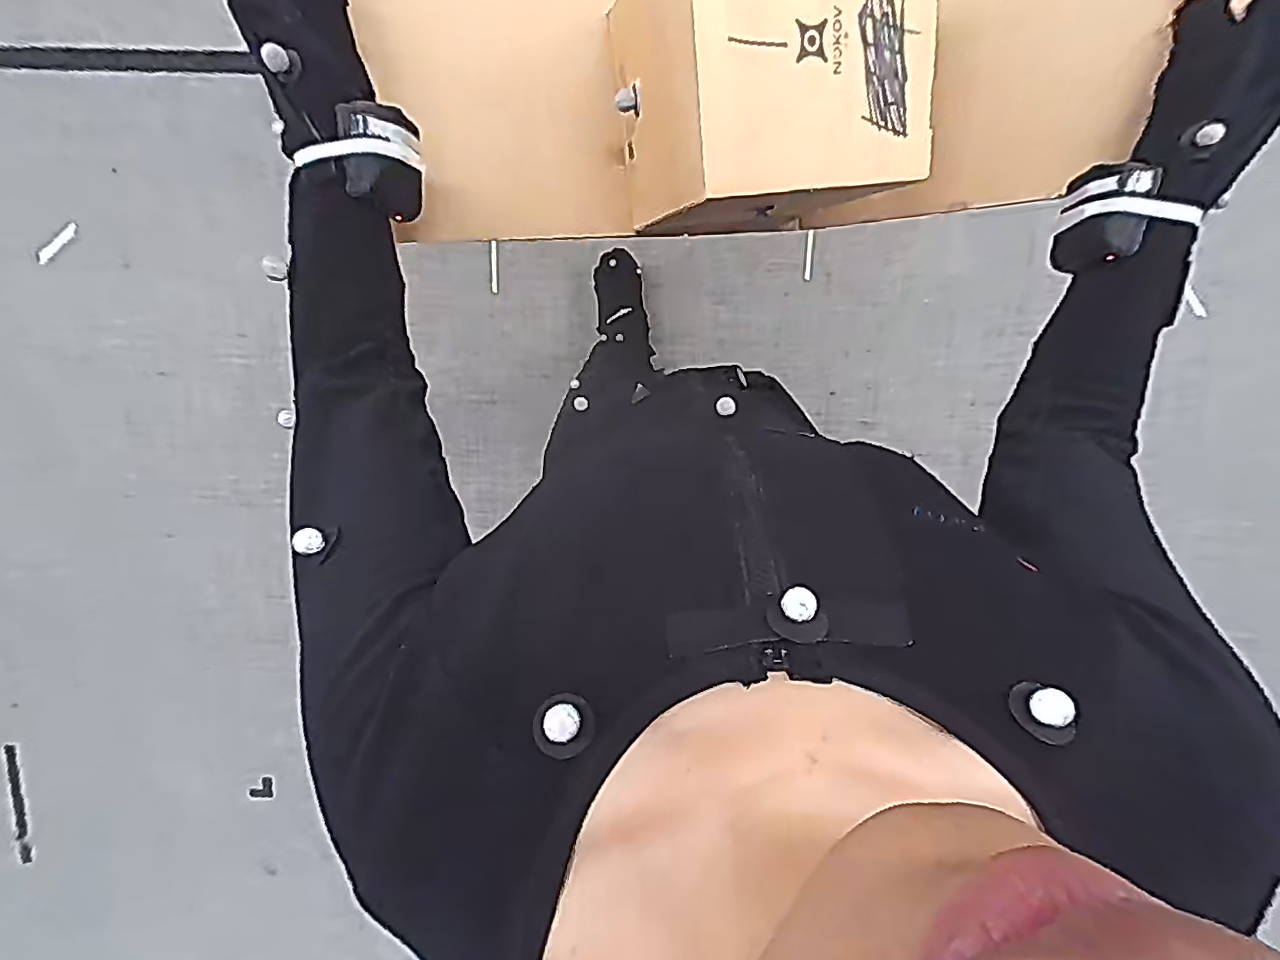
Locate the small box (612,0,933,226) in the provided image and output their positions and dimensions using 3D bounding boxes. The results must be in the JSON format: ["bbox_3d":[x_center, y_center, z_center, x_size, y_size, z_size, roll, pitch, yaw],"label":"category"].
[{"bbox_3d":[0.090,-0.299,0.415,0.179,0.176,0.168,-12,110,-13],"label":"small box"}]
